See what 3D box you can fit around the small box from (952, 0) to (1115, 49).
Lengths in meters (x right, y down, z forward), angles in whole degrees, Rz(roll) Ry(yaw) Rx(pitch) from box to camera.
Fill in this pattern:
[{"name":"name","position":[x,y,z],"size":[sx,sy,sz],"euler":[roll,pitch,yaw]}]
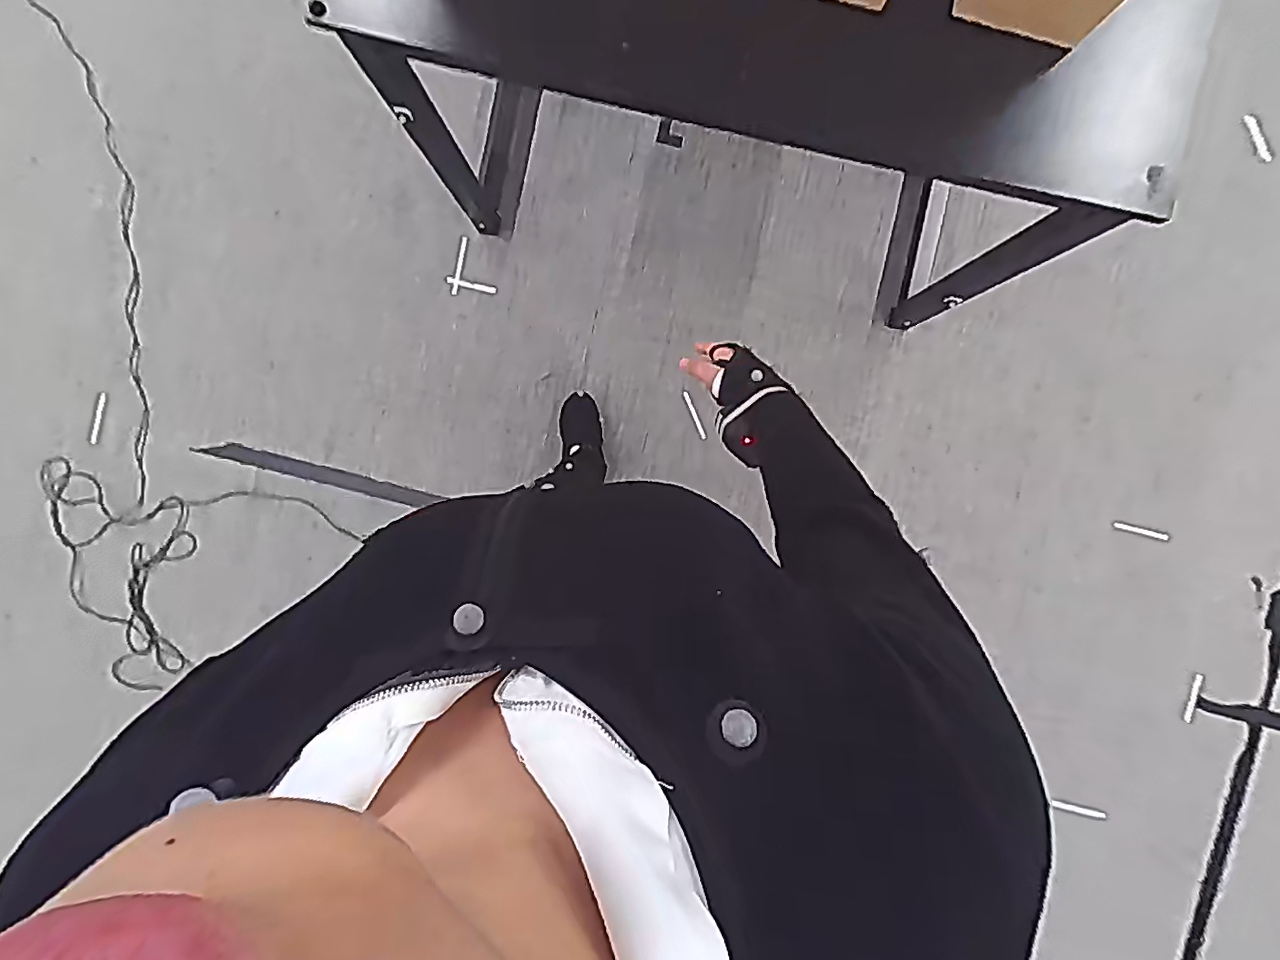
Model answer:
[{"name":"small box","position":[0.523,-0.680,0.659],"size":[0.179,0.176,0.168],"euler":[15,92,-1]}]
